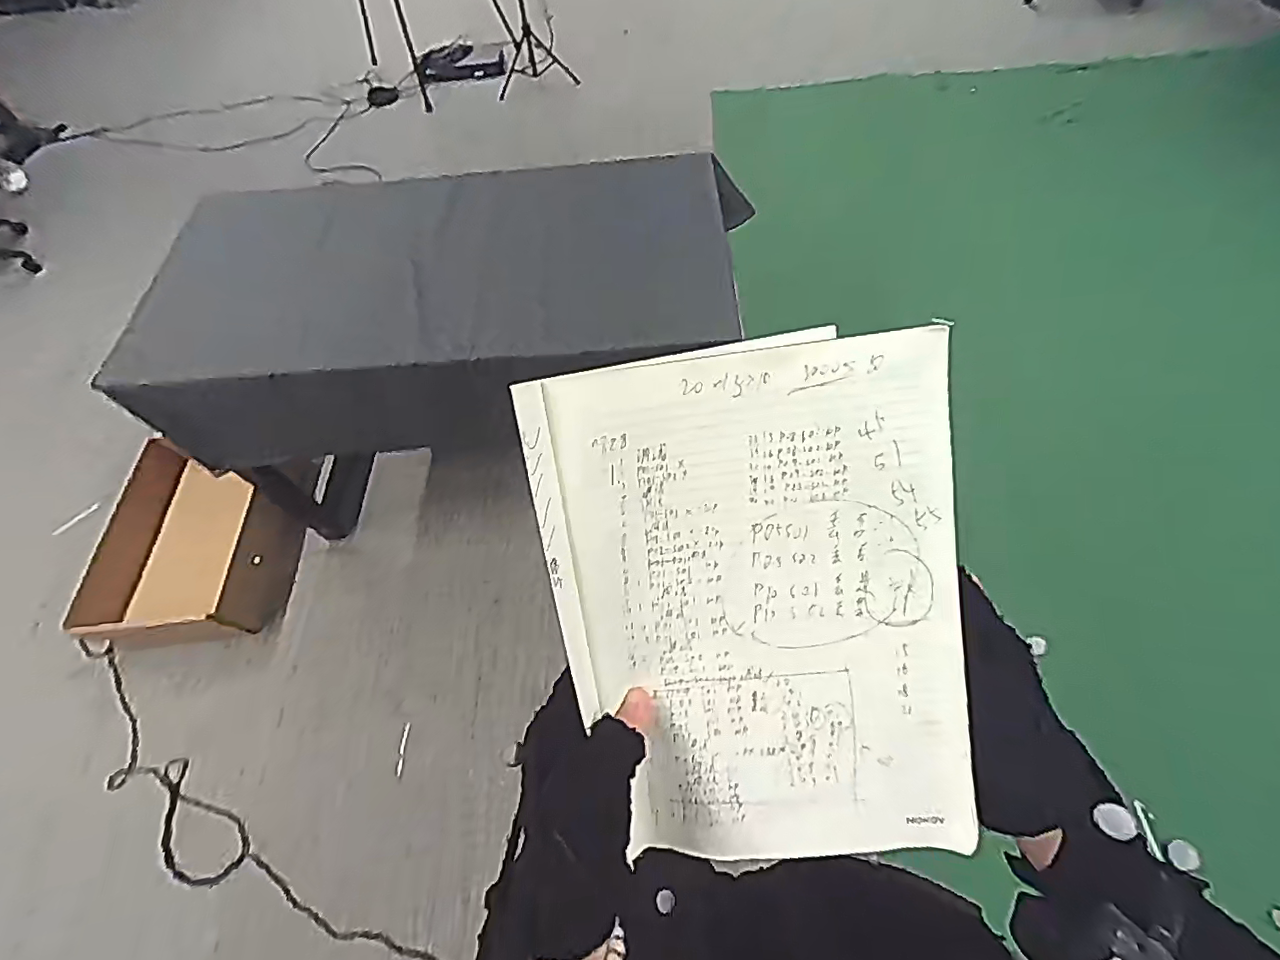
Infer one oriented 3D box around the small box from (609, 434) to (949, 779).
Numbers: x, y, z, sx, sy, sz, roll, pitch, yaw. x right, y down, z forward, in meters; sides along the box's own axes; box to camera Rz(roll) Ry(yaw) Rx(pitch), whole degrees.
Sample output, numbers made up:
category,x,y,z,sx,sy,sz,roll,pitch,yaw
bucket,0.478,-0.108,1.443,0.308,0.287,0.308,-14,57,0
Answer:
category,x,y,z,sx,sy,sz,roll,pitch,yaw
small box,0.082,0.086,0.397,0.168,0.176,0.179,-13,78,4
